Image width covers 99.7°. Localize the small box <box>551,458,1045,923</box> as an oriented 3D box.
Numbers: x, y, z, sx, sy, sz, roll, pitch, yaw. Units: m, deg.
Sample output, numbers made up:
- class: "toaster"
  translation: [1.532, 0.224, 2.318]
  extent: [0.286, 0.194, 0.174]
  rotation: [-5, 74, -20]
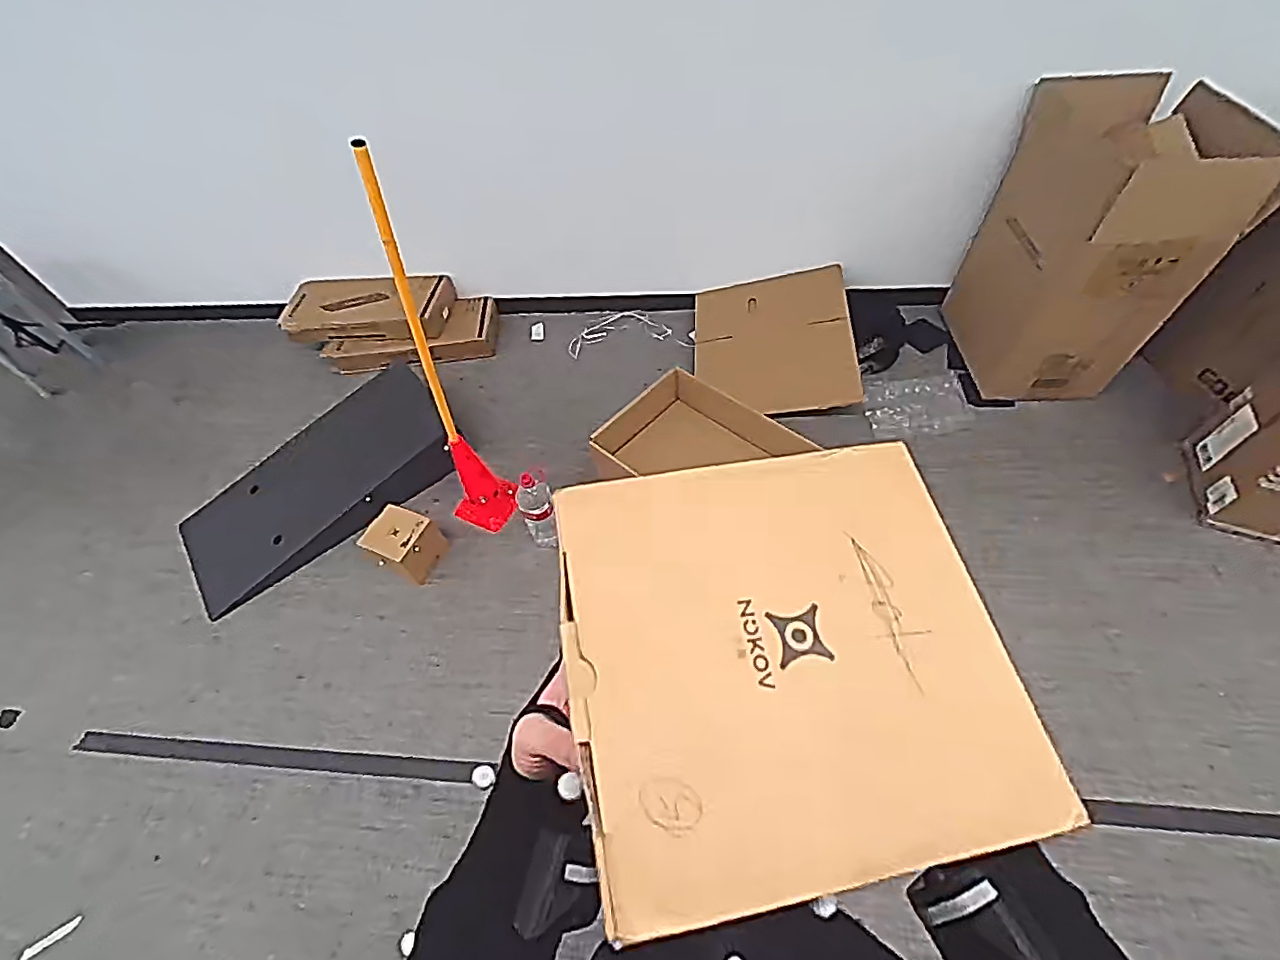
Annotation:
- class: "small box"
  translation: [0.053, 0.109, 0.301]
  extent: [0.179, 0.176, 0.168]
  rotation: [-8, 63, -9]
